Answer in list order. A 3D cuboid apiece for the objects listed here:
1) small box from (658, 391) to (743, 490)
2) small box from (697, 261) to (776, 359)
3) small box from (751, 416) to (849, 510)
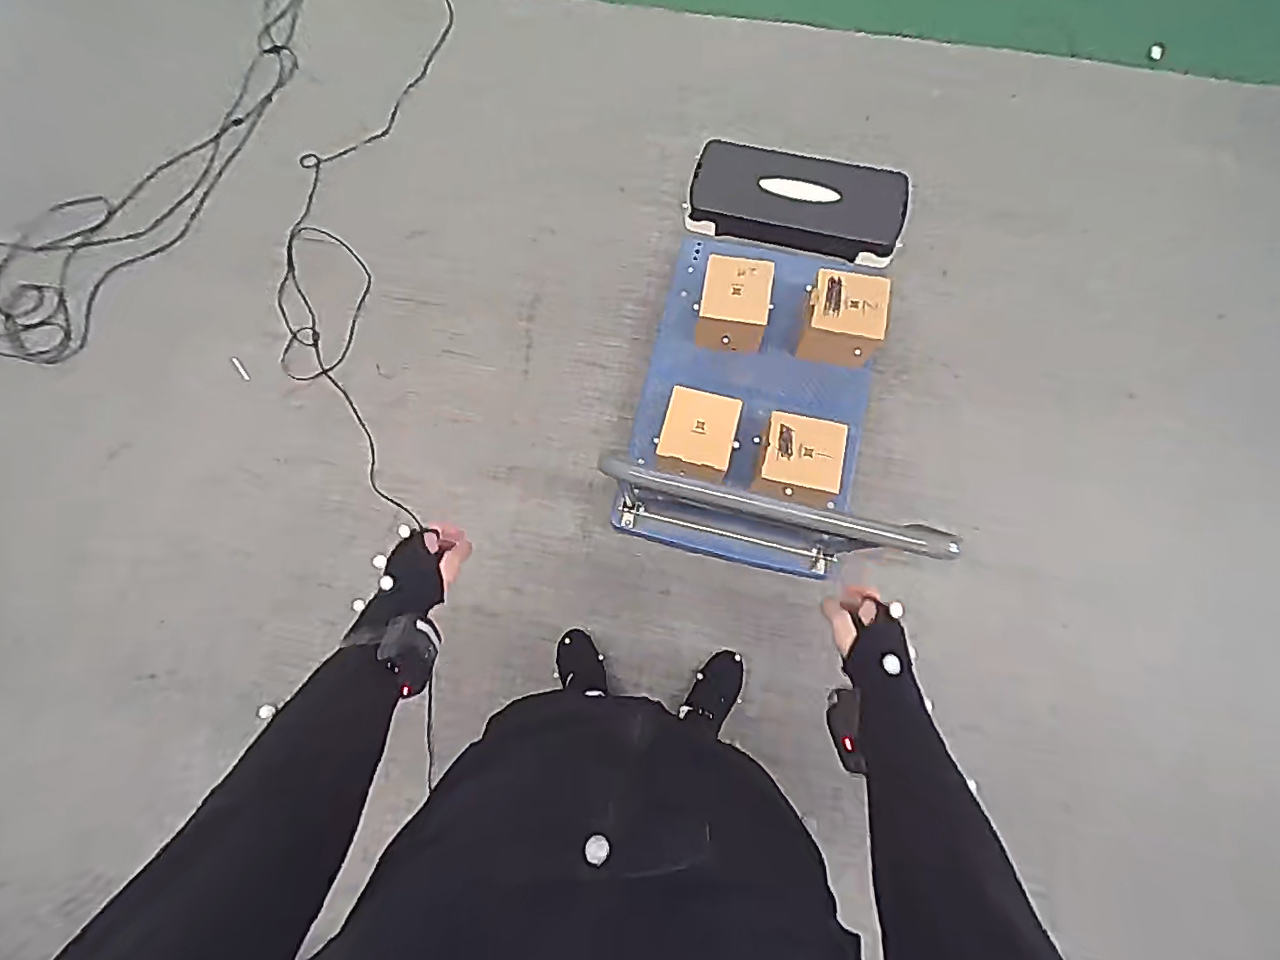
[{"bbox_3d":[0.141,-0.090,1.319,0.168,0.176,0.179,14,78,4],"label":"small box"},{"bbox_3d":[0.243,-0.432,1.400,0.168,0.176,0.179,10,77,4],"label":"small box"},{"bbox_3d":[0.375,-0.033,1.295,0.179,0.176,0.168,13,77,4],"label":"small box"}]
